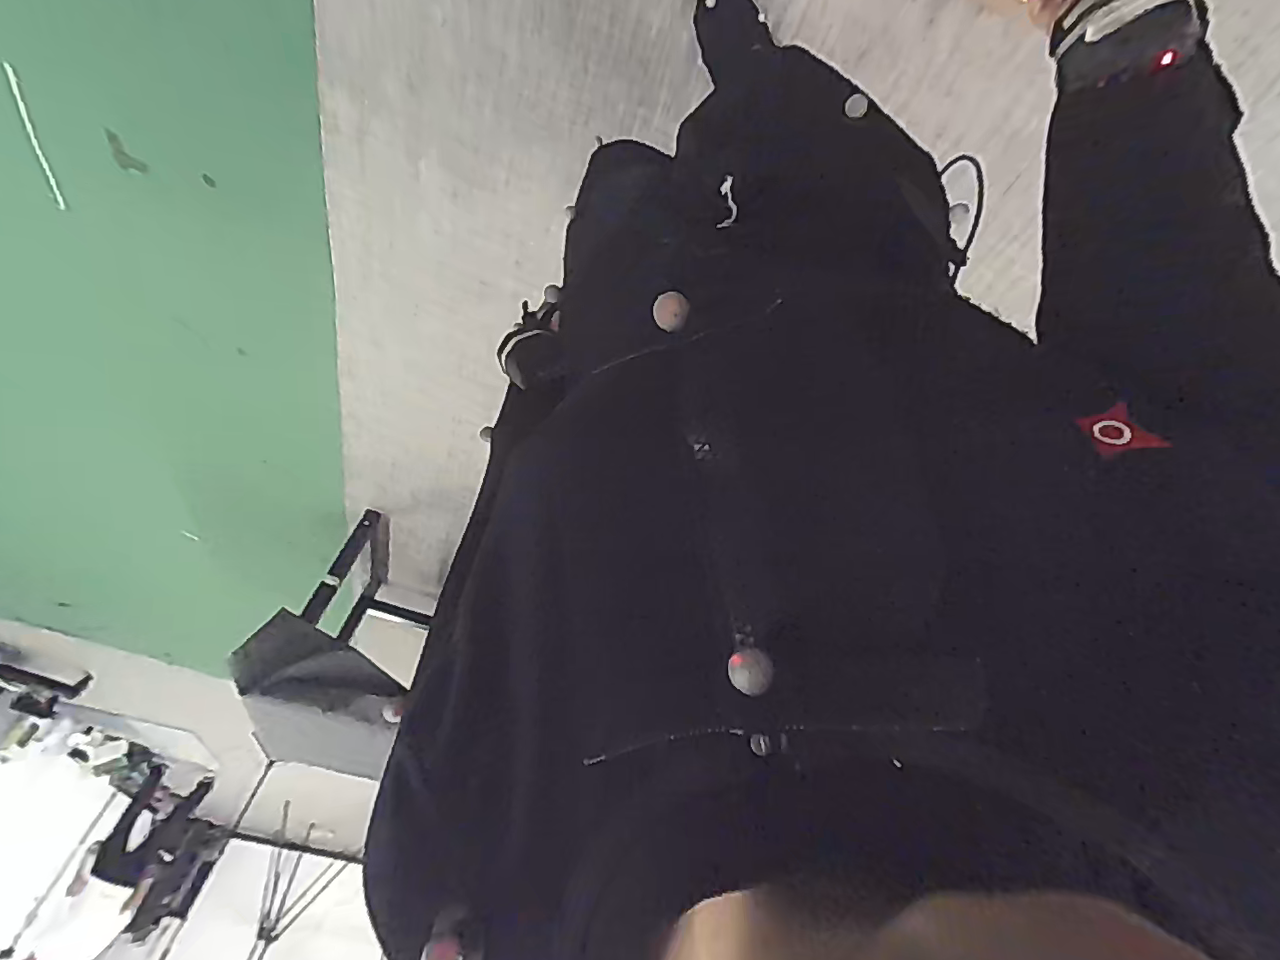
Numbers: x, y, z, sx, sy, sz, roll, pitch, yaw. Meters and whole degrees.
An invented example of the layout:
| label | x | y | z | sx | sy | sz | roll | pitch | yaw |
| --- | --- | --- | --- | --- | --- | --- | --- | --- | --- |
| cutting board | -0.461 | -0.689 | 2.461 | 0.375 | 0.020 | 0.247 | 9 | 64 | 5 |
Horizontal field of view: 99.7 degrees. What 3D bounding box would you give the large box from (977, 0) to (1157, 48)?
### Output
| label | x | y | z | sx | sy | sz | roll | pitch | yaw |
| --- | --- | --- | --- | --- | --- | --- | --- | --- | --- |
| large box | 0.478 | -0.801 | 0.648 | 0.408 | 0.320 | 0.320 | 18 | 136 | -9 |
